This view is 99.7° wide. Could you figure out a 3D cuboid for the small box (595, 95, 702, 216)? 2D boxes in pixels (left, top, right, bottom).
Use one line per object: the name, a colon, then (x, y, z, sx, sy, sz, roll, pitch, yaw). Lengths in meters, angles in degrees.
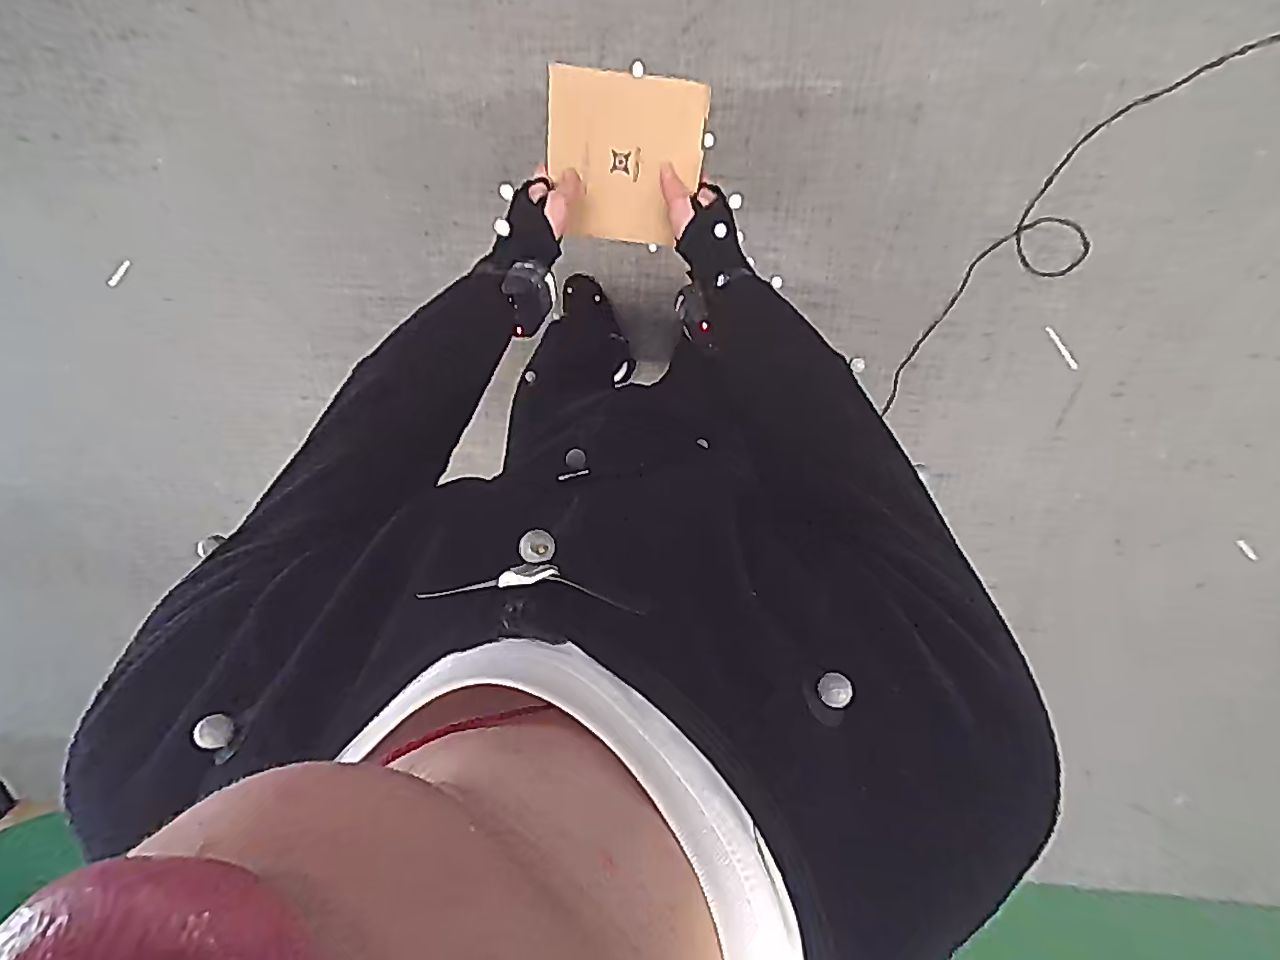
small box: (0.027, -0.678, 1.155, 0.179, 0.176, 0.168, -16, 112, 15)
